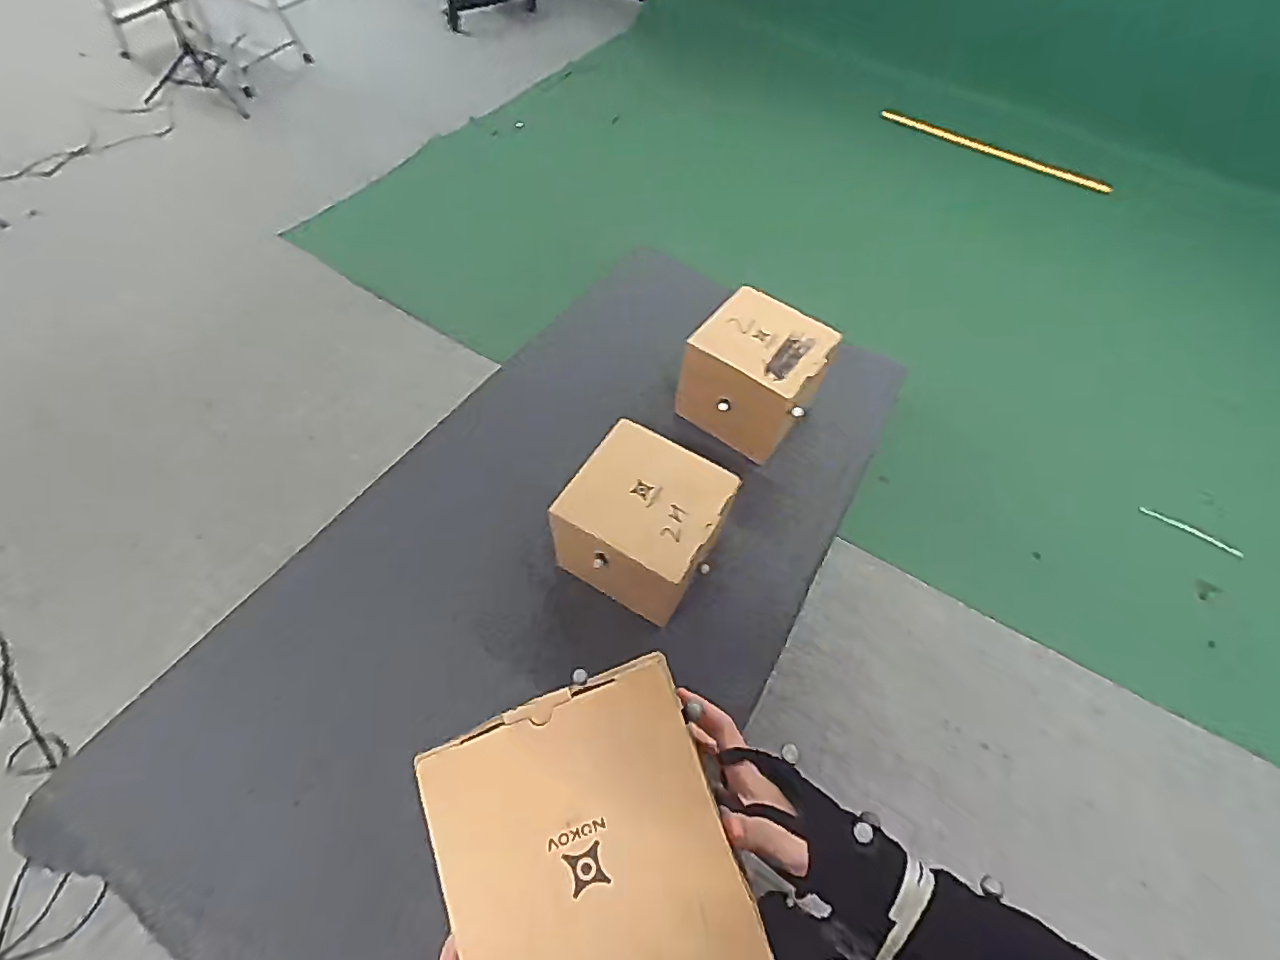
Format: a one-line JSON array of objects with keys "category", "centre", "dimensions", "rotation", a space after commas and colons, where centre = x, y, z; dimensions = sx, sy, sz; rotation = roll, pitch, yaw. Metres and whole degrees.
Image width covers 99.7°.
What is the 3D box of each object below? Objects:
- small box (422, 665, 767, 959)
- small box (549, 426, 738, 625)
[{"category": "small box", "centre": [-0.027, 0.247, 0.391], "dimensions": [0.168, 0.176, 0.179], "rotation": [-21, 72, -4]}, {"category": "small box", "centre": [0.002, 0.067, 0.717], "dimensions": [0.179, 0.176, 0.168], "rotation": [29, 61, 13]}]
